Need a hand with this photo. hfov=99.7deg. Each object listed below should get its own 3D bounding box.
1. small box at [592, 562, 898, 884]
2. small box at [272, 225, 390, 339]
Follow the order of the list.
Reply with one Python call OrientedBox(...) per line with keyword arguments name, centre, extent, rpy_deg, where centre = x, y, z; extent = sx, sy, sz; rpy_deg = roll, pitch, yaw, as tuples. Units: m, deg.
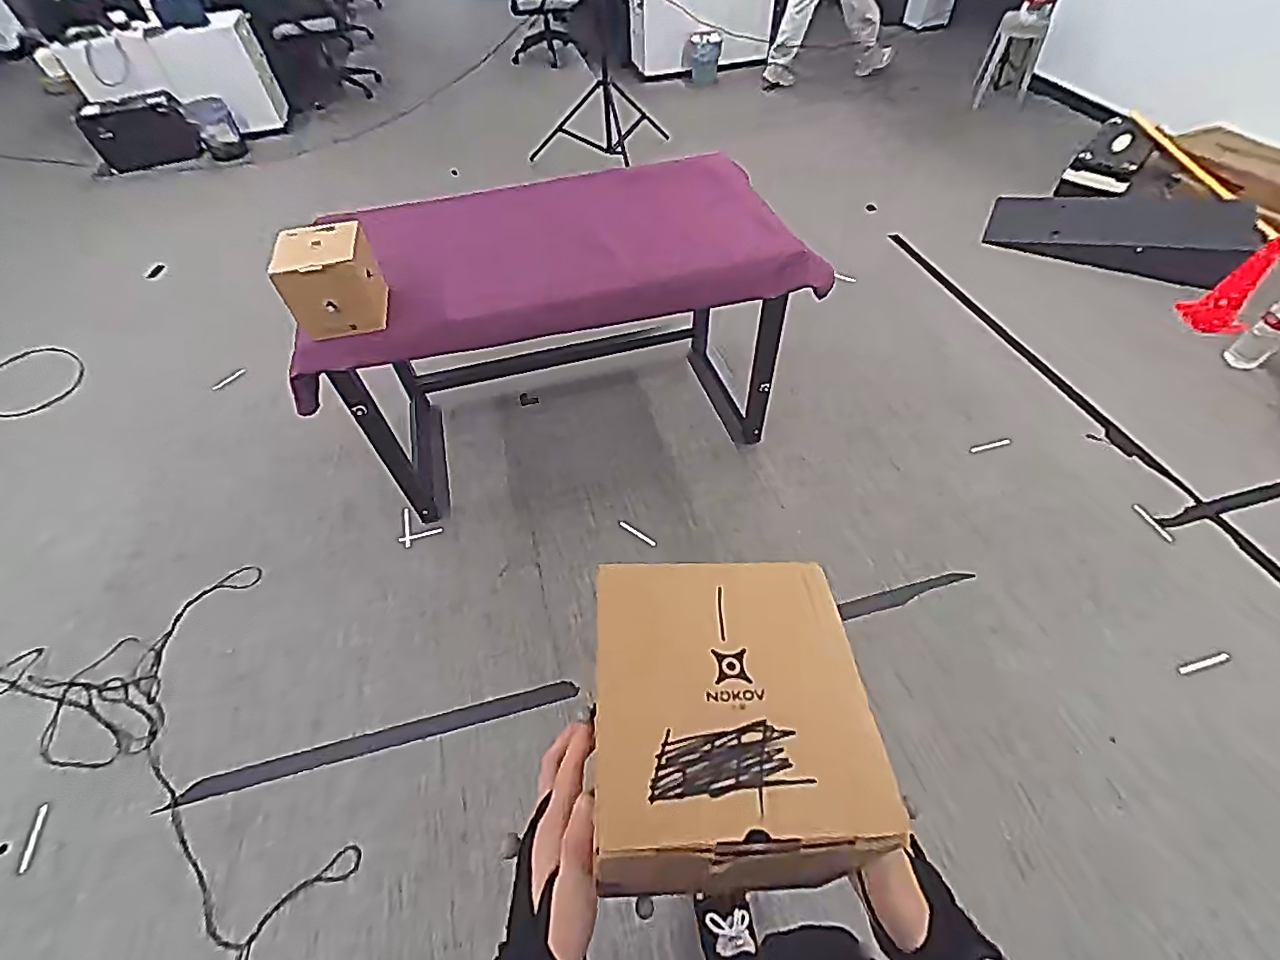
OrientedBox(name="small box", centre=(0.051, 0.179, 0.396), extent=(0.168, 0.176, 0.179), rpy_deg=(0, 45, -4))
OrientedBox(name="small box", centre=(-0.667, -0.427, 1.189), extent=(0.168, 0.176, 0.179), rpy_deg=(-12, 53, -7))
